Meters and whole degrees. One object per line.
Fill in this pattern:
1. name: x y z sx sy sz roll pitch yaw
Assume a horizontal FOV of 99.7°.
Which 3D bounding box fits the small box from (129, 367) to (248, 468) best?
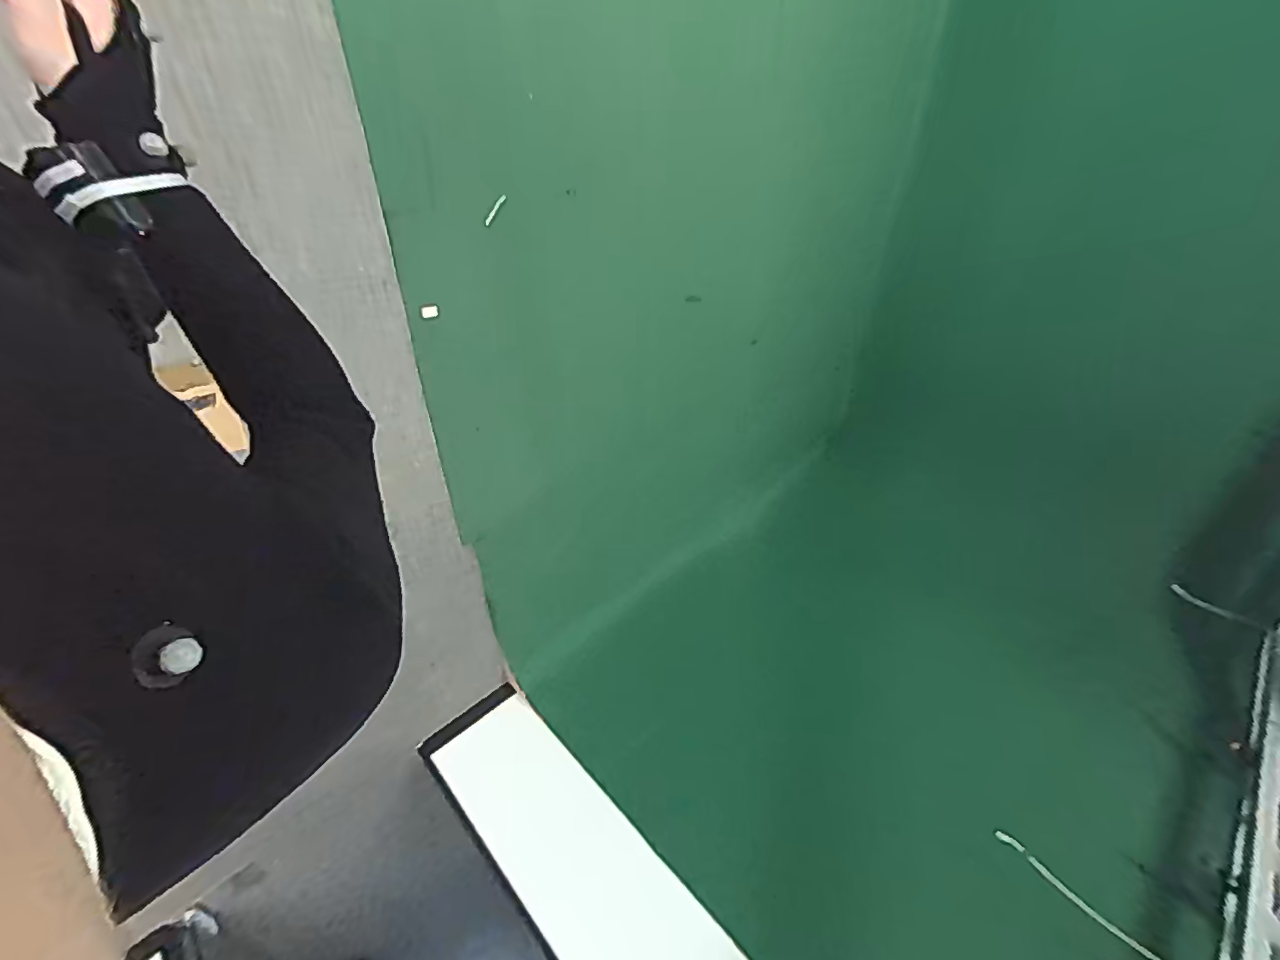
1. small box: -1.071 -0.158 1.285 0.168 0.176 0.179 -23 131 -37
